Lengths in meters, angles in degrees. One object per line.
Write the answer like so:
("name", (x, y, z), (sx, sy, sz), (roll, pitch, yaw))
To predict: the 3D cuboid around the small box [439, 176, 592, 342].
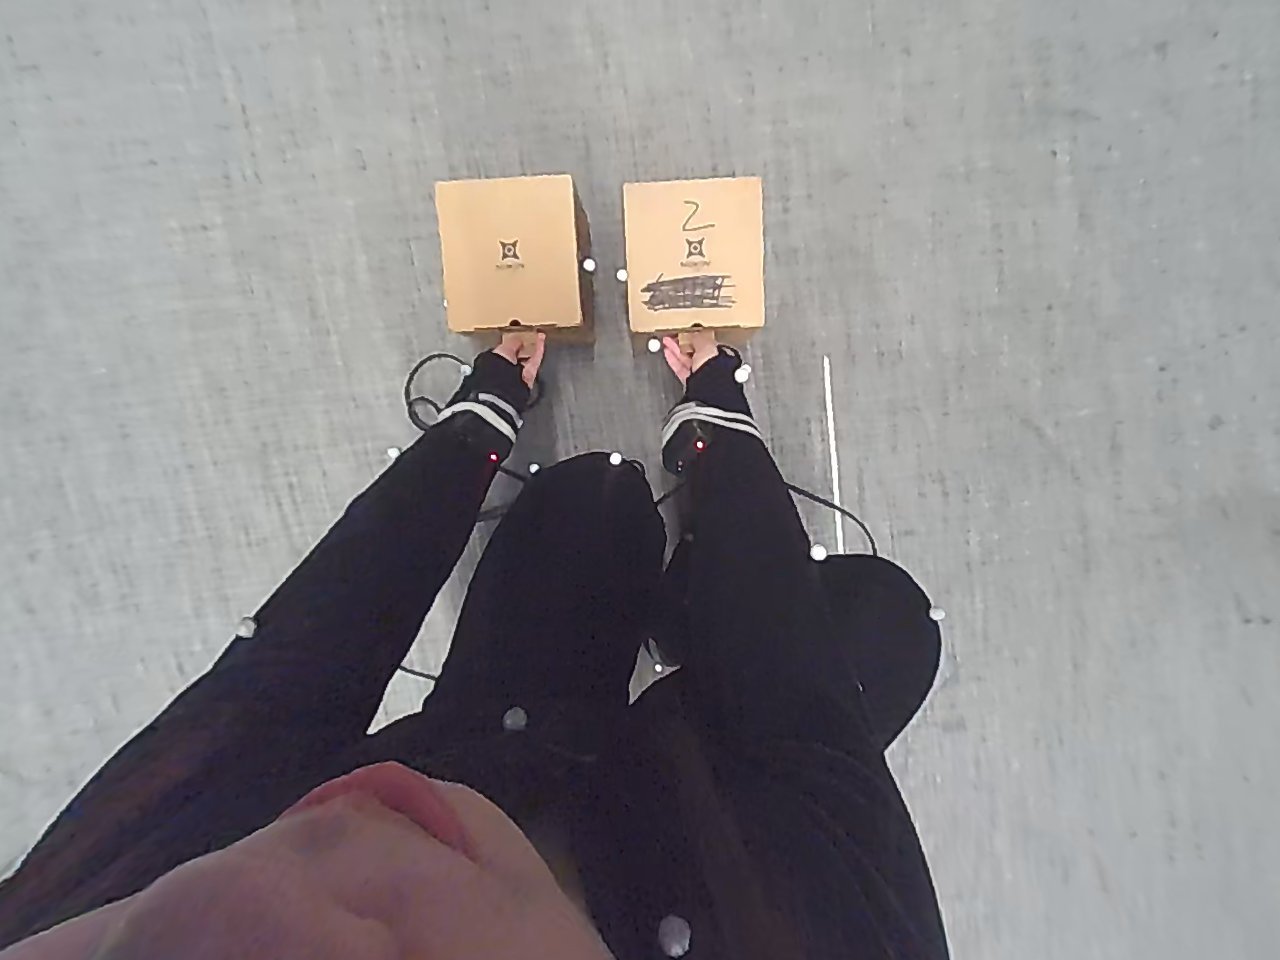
("small box", (-0.158, -0.288, 0.737), (0.168, 0.176, 0.179), (-2, 100, 1))
